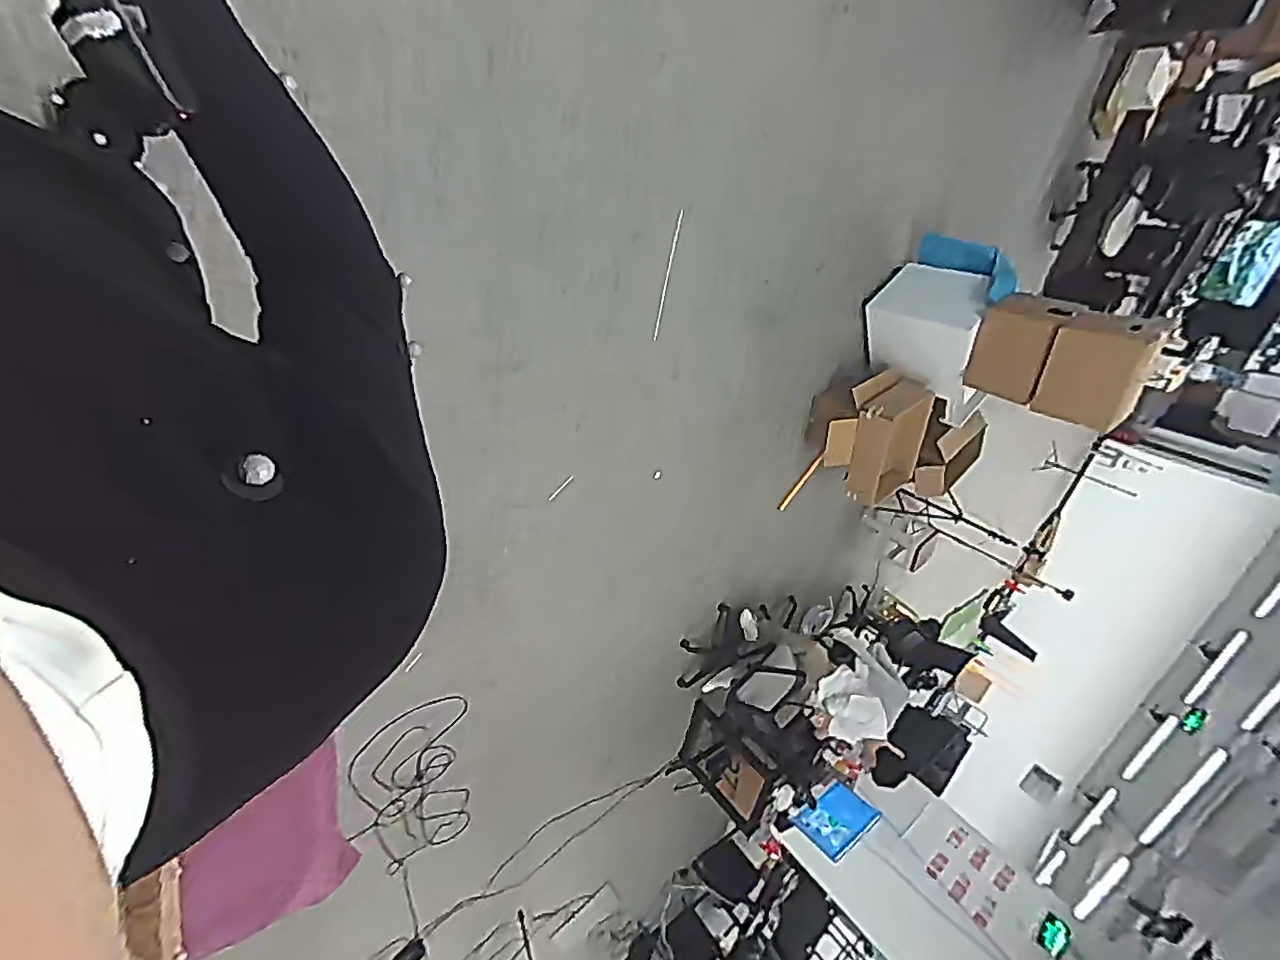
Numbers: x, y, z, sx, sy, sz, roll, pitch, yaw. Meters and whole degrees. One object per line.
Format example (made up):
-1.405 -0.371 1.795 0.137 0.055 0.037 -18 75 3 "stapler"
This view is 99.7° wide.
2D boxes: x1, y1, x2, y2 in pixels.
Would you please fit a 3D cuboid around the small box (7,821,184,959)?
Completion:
-0.878 0.717 0.886 0.179 0.176 0.168 -11 122 -40 "small box"

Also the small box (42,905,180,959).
-0.774 0.774 0.770 0.179 0.176 0.168 -9 121 -40 "small box"
